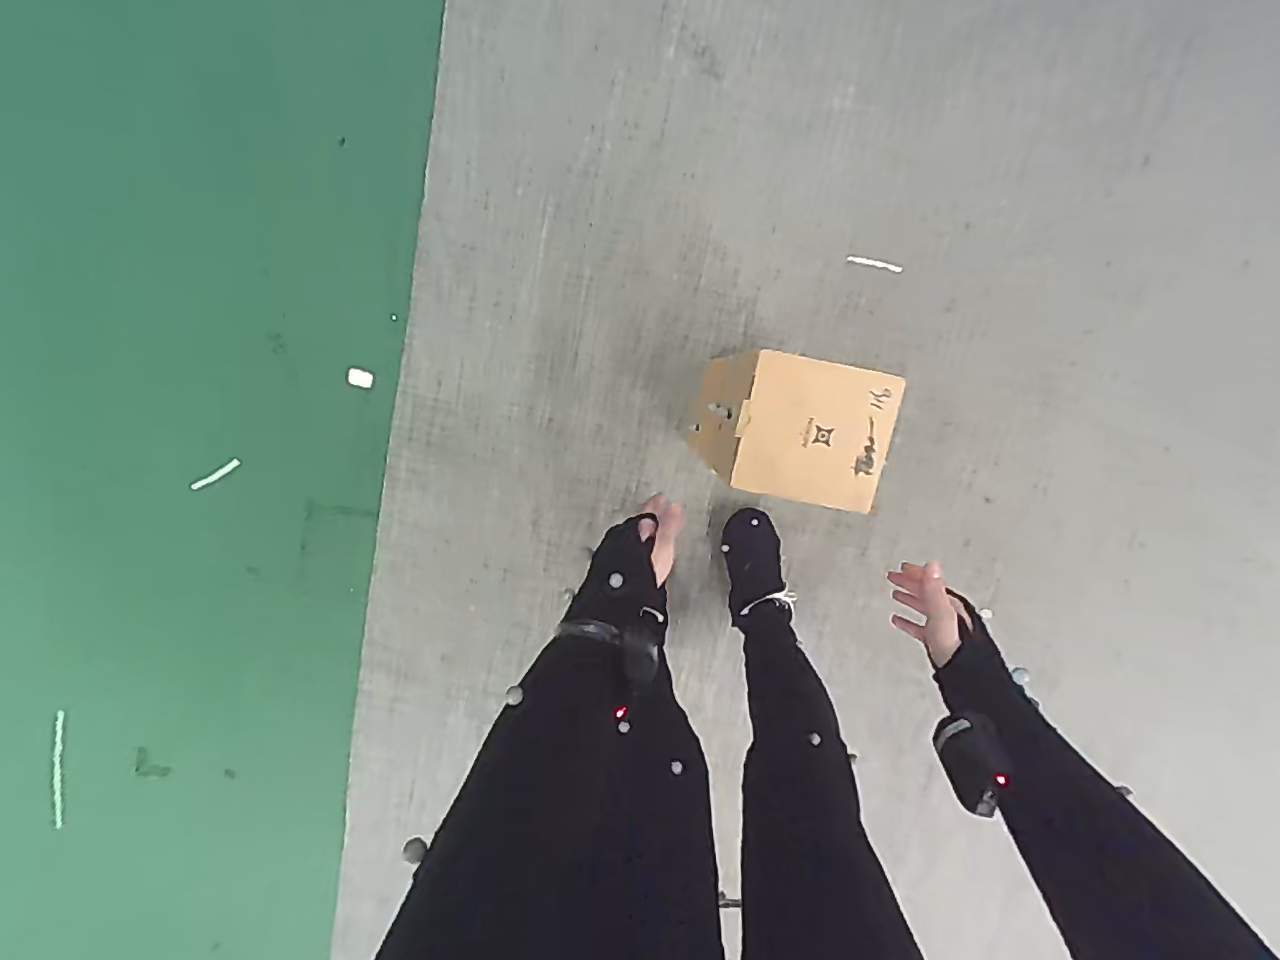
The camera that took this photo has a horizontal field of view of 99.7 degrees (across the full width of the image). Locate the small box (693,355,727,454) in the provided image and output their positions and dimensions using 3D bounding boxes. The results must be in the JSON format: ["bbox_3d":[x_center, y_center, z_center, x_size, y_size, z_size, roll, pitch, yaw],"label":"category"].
[{"bbox_3d":[0.201,-0.130,1.027,0.168,0.176,0.179,13,100,-3],"label":"small box"}]

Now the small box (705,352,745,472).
[{"bbox_3d":[0.203,-0.099,0.868,0.168,0.176,0.179,10,100,-2],"label":"small box"}]

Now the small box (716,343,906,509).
[{"bbox_3d":[0.204,-0.074,0.705,0.179,0.176,0.168,11,101,-1],"label":"small box"}]
